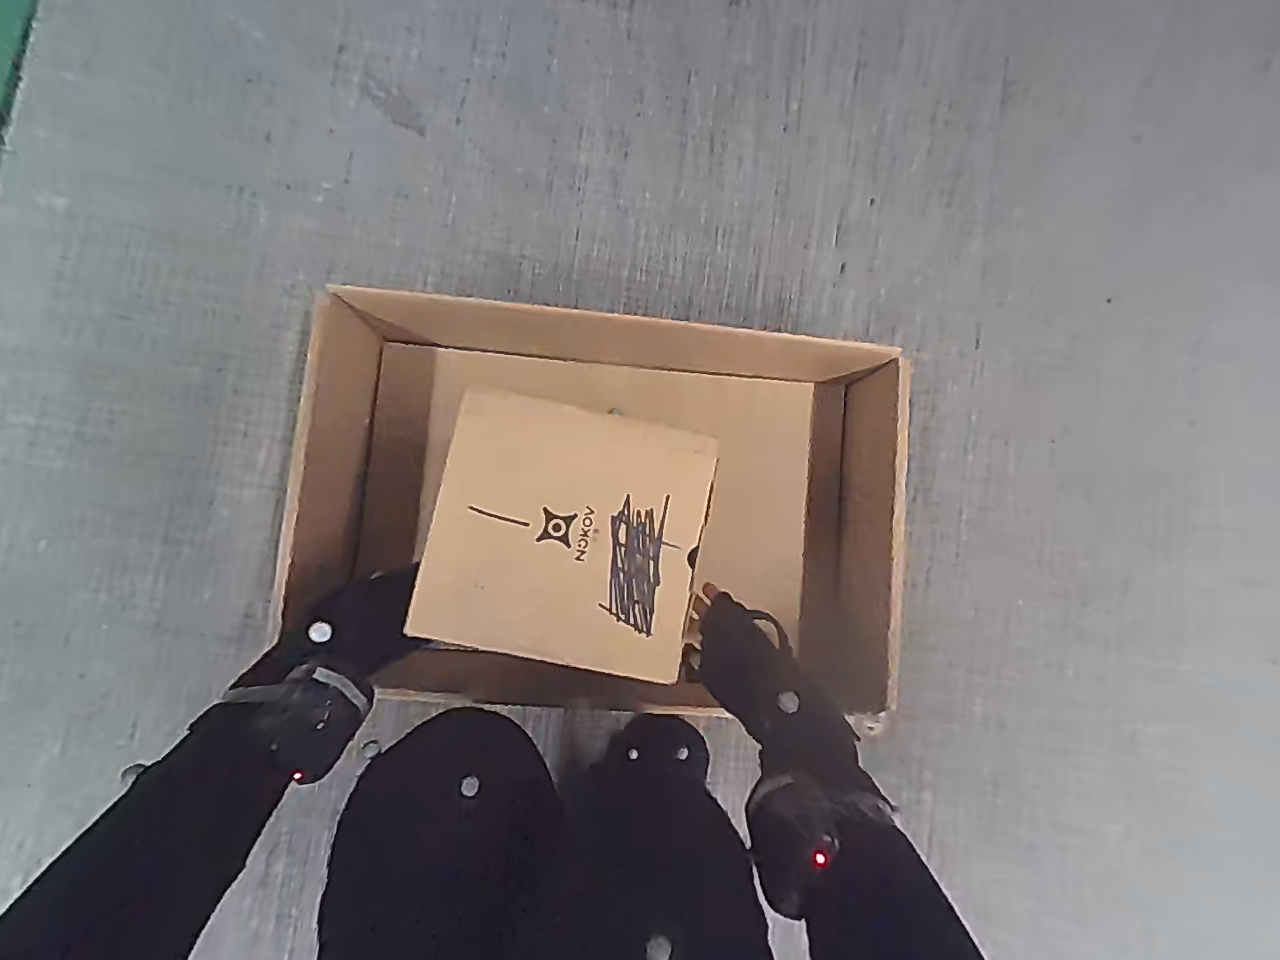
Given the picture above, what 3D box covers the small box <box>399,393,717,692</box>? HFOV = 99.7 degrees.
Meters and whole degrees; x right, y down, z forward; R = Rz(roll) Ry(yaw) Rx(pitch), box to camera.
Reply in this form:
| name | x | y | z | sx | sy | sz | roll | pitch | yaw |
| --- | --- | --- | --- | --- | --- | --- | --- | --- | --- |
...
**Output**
| name | x | y | z | sx | sy | sz | roll | pitch | yaw |
| --- | --- | --- | --- | --- | --- | --- | --- | --- | --- |
| small box | -0.055 | 0.047 | 0.431 | 0.179 | 0.176 | 0.168 | 13 | 83 | -2 |
